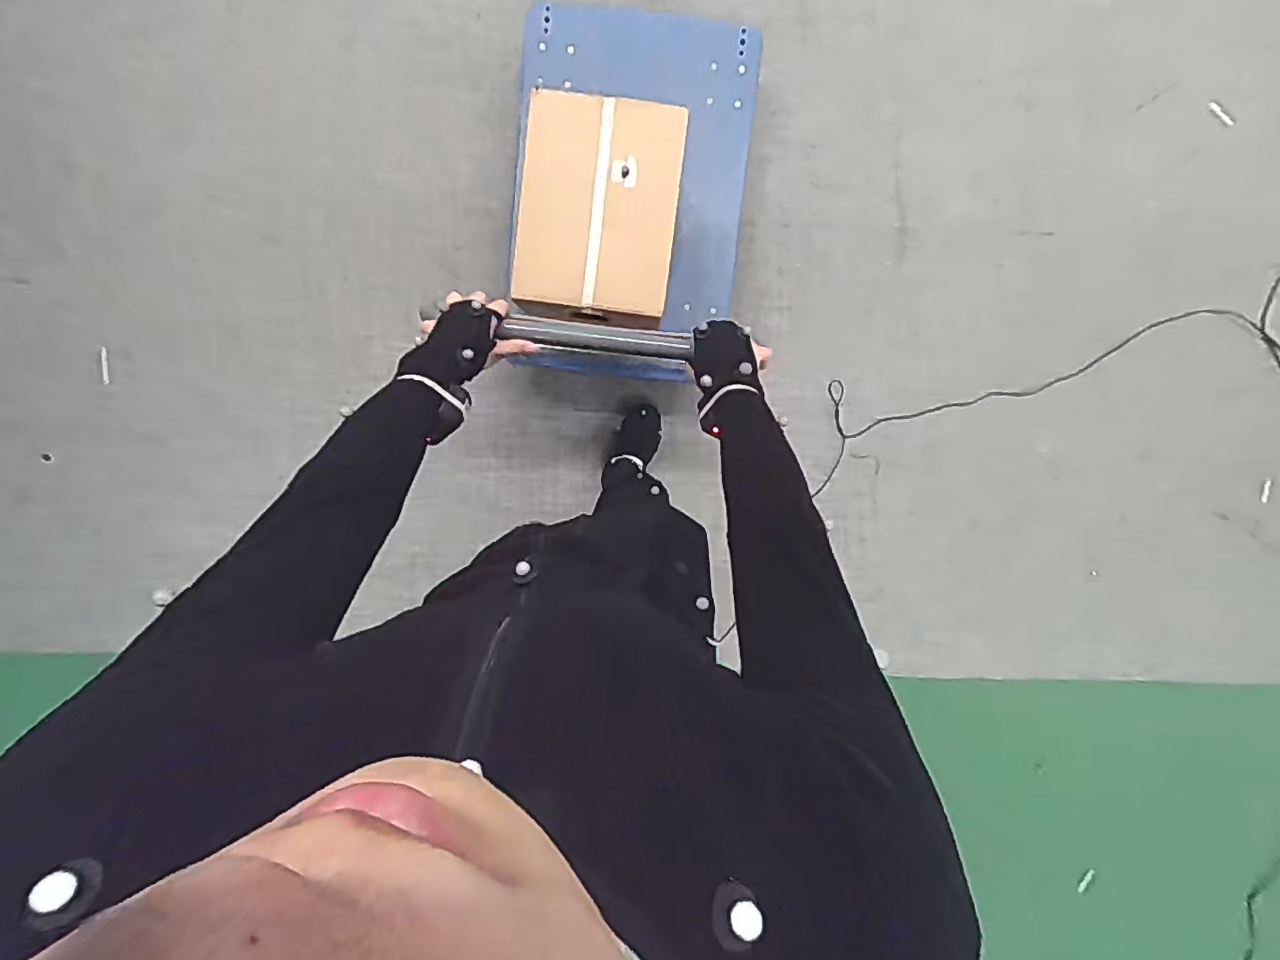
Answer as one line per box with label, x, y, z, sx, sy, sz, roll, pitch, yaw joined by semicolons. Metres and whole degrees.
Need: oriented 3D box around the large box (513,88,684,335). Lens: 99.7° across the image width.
large box;-0.084;-0.567;1.221;0.320;0.320;0.408;7;95;-2
